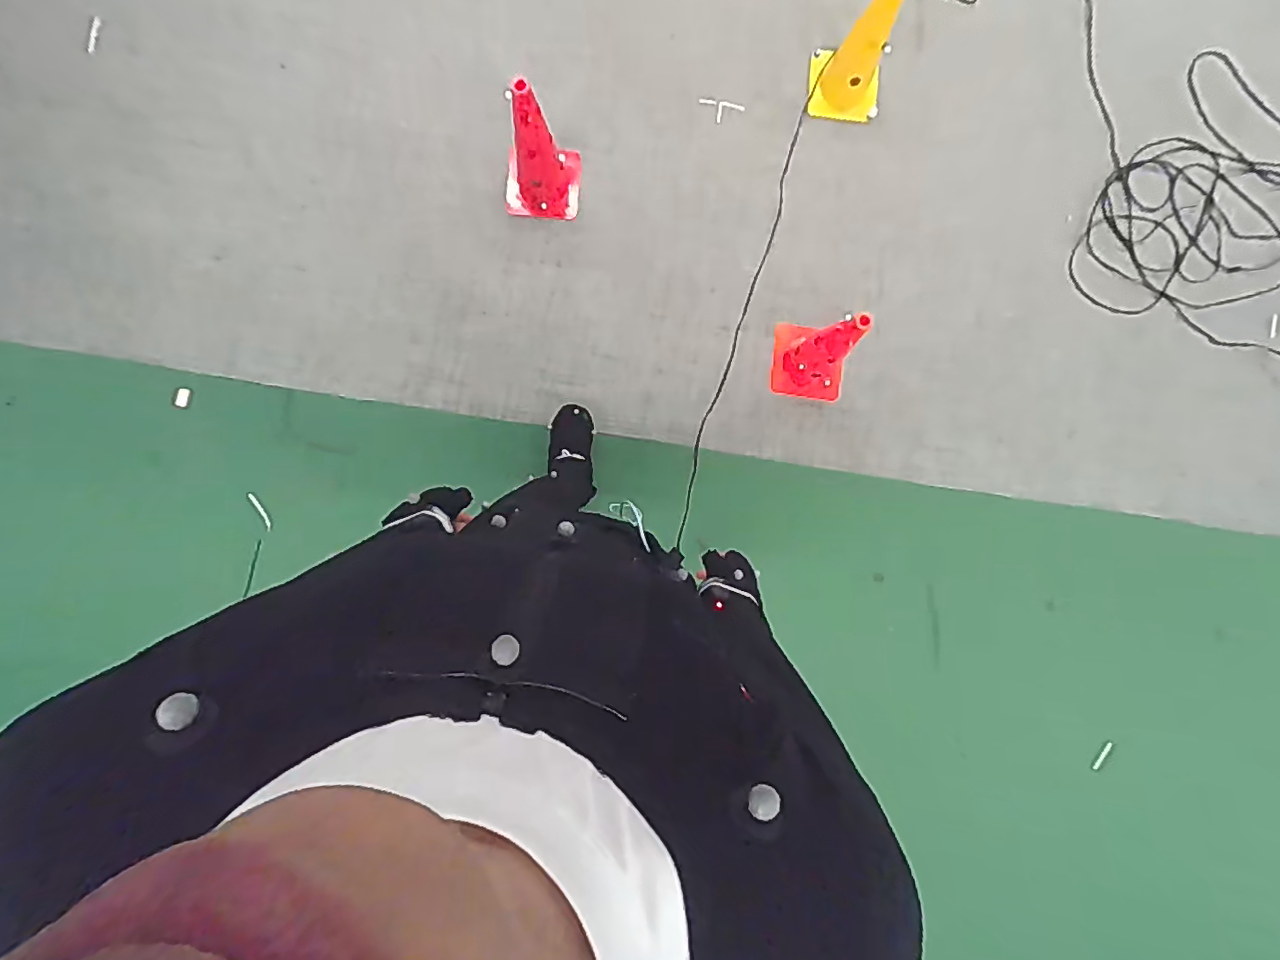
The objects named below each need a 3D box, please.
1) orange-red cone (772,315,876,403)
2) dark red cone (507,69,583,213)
[{"bbox_3d":[0.484,-0.335,1.346,0.198,0.360,0.199,9,86,-3],"label":"orange-red cone"},{"bbox_3d":[-0.254,-0.837,1.320,0.202,0.394,0.201,3,88,-2],"label":"dark red cone"}]
